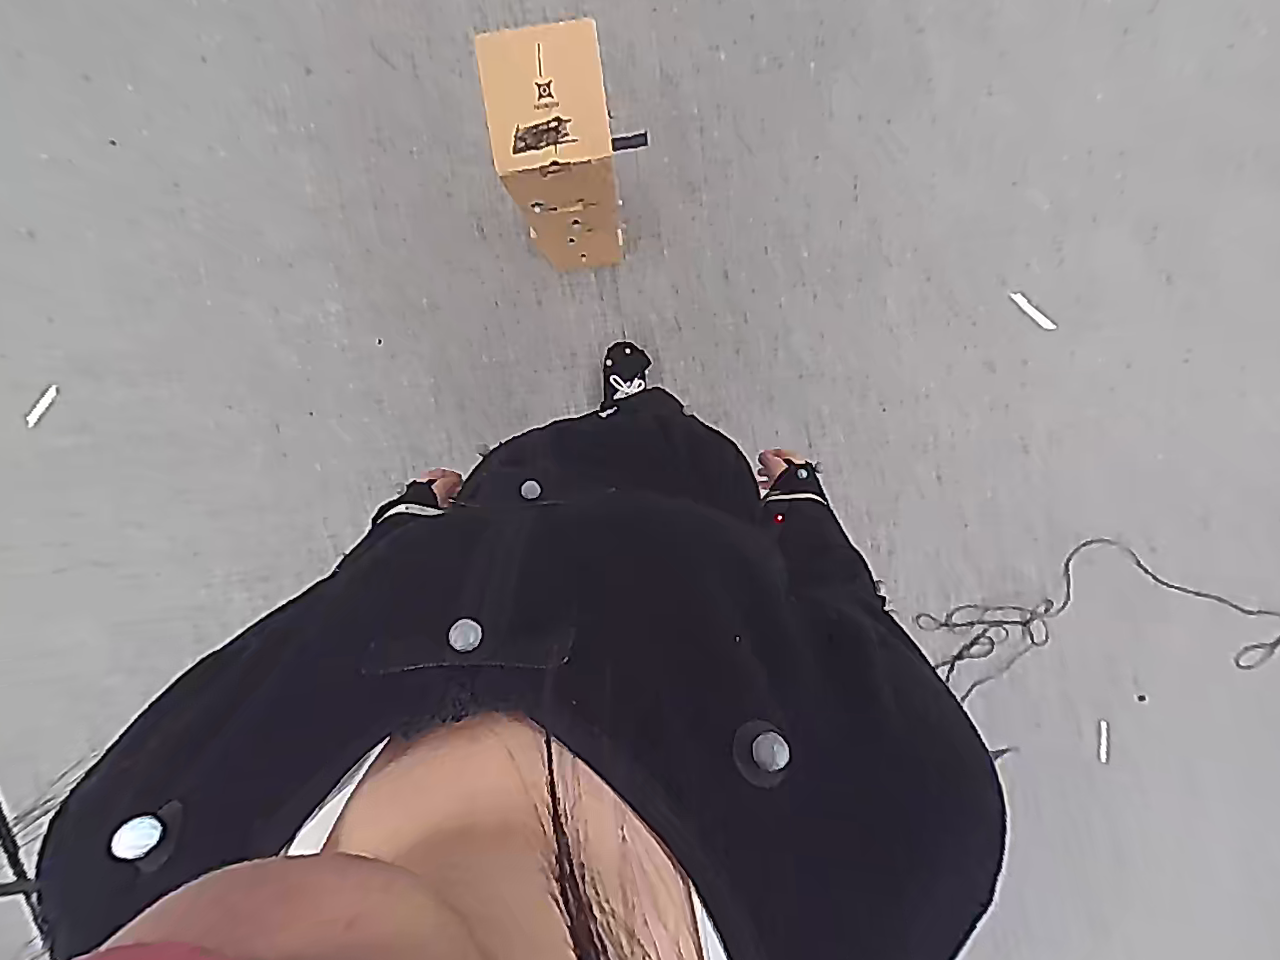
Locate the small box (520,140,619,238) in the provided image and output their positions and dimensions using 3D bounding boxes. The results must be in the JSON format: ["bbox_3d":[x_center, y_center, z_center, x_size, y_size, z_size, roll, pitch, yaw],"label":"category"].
[{"bbox_3d":[-0.128,-0.546,0.970,0.168,0.176,0.179,-6,101,0],"label":"small box"}]

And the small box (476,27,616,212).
[{"bbox_3d":[-0.128,-0.519,0.808,0.168,0.176,0.179,-7,99,0],"label":"small box"}]

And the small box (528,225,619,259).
[{"bbox_3d":[-0.140,-0.570,1.132,0.179,0.176,0.168,-6,101,0],"label":"small box"}]

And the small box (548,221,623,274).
[{"bbox_3d":[-0.137,-0.603,1.293,0.179,0.176,0.168,-8,100,0],"label":"small box"}]
